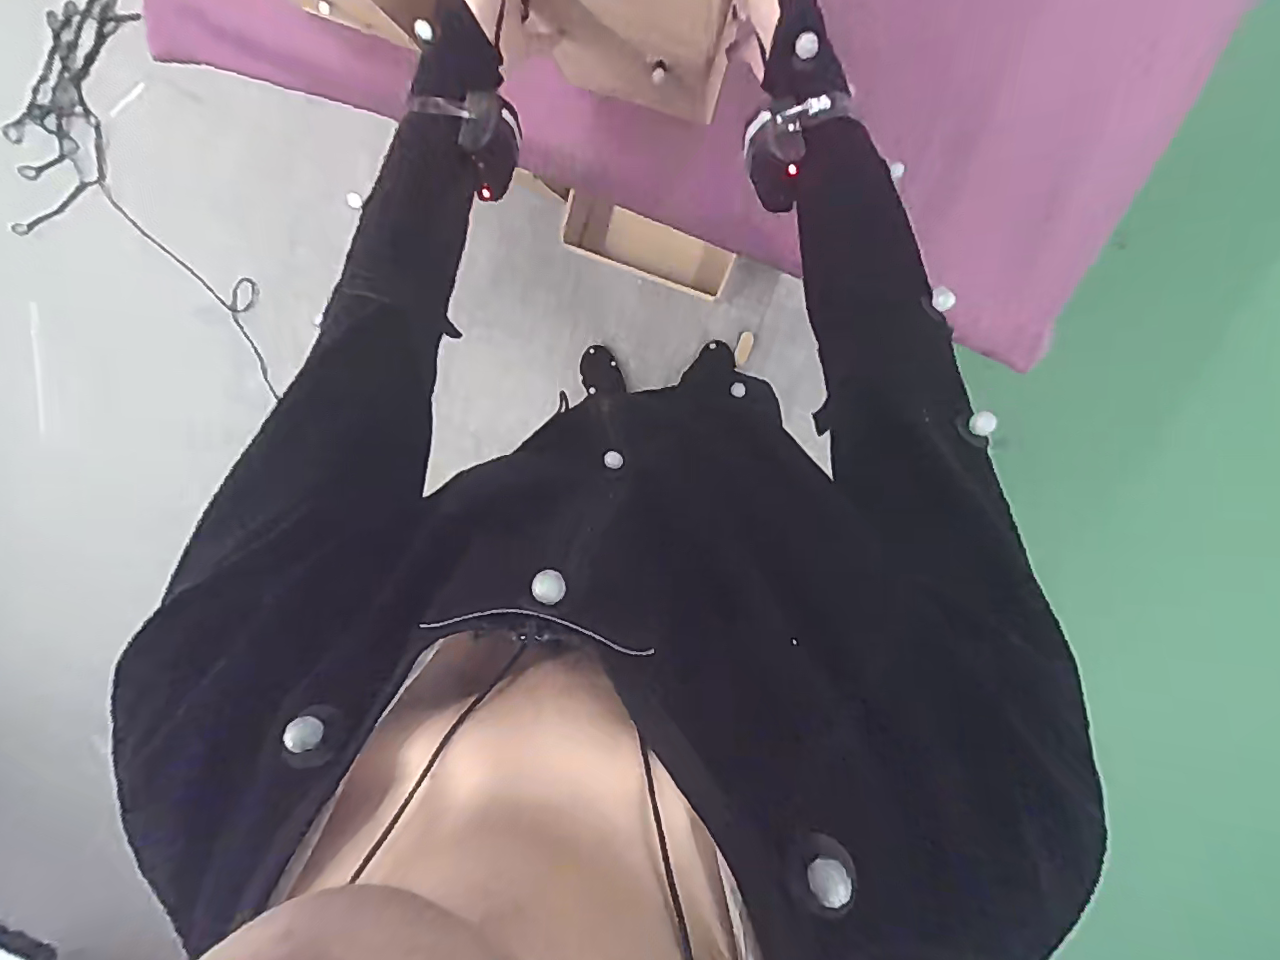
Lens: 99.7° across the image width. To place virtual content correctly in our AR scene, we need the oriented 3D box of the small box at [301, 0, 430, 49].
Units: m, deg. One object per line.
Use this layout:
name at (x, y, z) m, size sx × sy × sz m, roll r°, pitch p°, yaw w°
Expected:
small box at (-0.324, -0.609, 0.562) m, size 0.168 × 0.176 × 0.179 m, roll 21°, pitch 108°, yaw 2°

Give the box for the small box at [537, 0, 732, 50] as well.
small box at (-0.005, -0.450, 0.382) m, size 0.179 × 0.176 × 0.168 m, roll 18°, pitch 108°, yaw 4°

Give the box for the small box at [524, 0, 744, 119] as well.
small box at (0.011, -0.494, 0.539) m, size 0.179 × 0.176 × 0.168 m, roll 19°, pitch 106°, yaw 3°

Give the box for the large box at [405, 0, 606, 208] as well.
large box at (-0.258, -0.873, 1.172) m, size 0.320 × 0.320 × 0.408 m, roll 21°, pitch 109°, yaw 2°
